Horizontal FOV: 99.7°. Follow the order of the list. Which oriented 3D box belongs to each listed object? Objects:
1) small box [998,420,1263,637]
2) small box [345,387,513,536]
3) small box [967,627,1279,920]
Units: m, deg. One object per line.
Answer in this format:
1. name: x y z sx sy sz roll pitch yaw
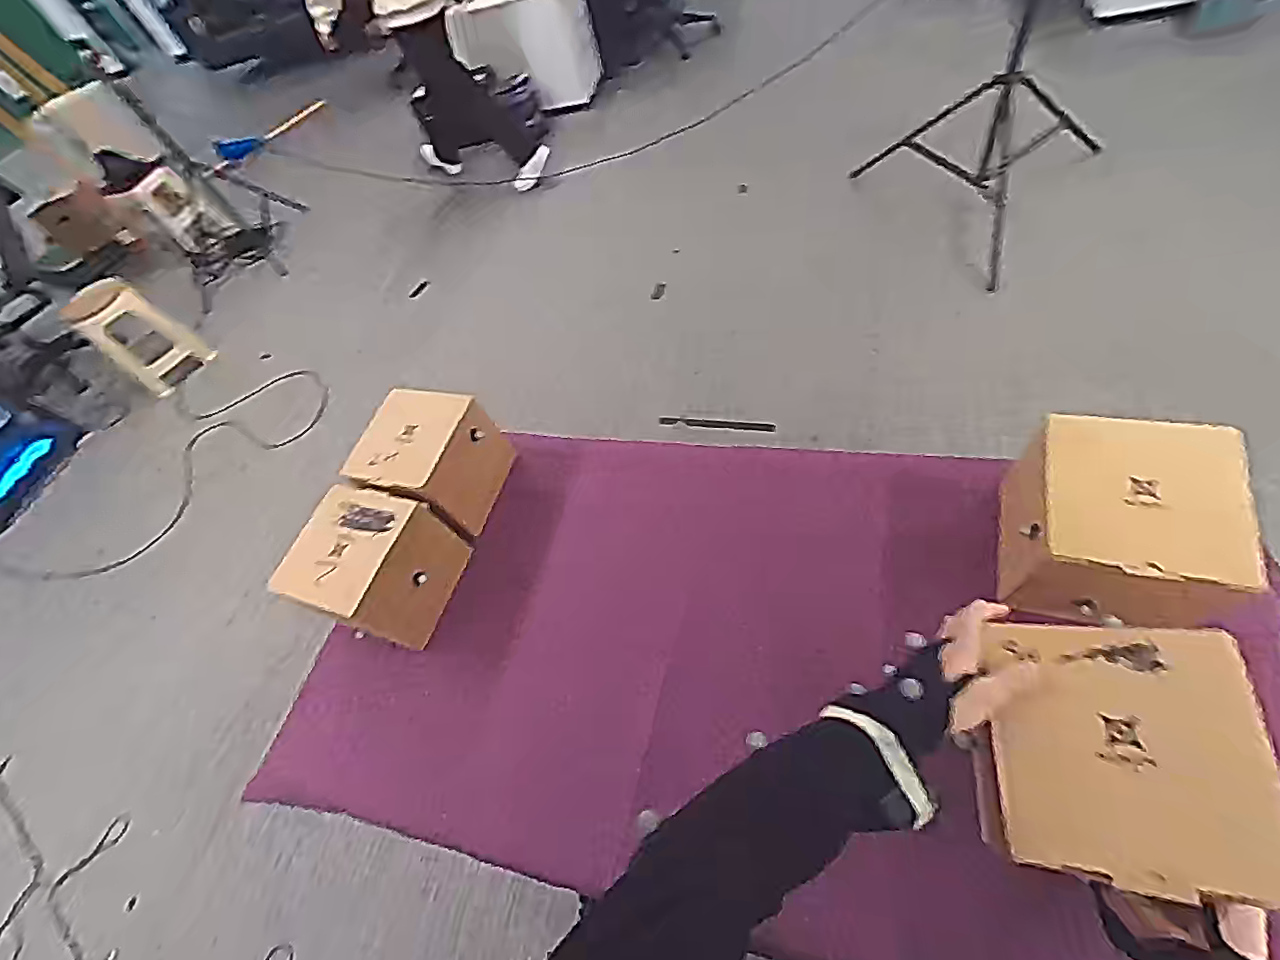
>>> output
1. small box: 0.525 0.058 0.611 0.168 0.176 0.179 9 65 21
2. small box: -0.337 -0.030 0.907 0.168 0.176 0.179 9 61 21
3. small box: 0.393 0.239 0.471 0.168 0.176 0.179 -2 62 24
